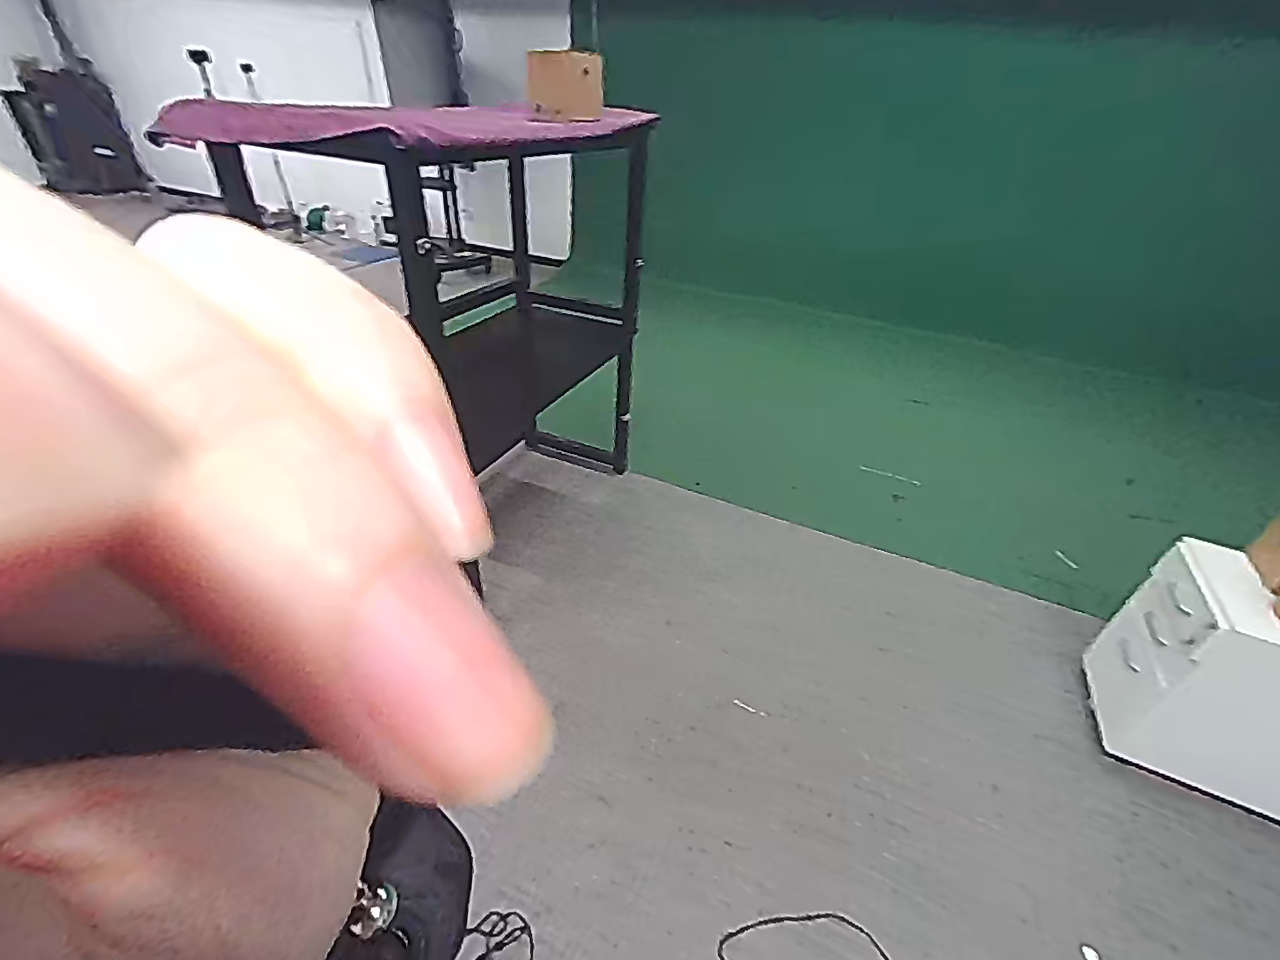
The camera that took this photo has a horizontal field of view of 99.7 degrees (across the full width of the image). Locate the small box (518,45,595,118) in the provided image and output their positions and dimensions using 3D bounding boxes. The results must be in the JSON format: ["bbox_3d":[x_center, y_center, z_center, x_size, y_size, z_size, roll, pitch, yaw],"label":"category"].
[{"bbox_3d":[-0.241,-1.196,1.630,0.168,0.176,0.179,16,37,20],"label":"small box"}]

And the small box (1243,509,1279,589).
[{"bbox_3d":[1.740,0.189,1.396,0.168,0.176,0.179,18,39,18],"label":"small box"}]
